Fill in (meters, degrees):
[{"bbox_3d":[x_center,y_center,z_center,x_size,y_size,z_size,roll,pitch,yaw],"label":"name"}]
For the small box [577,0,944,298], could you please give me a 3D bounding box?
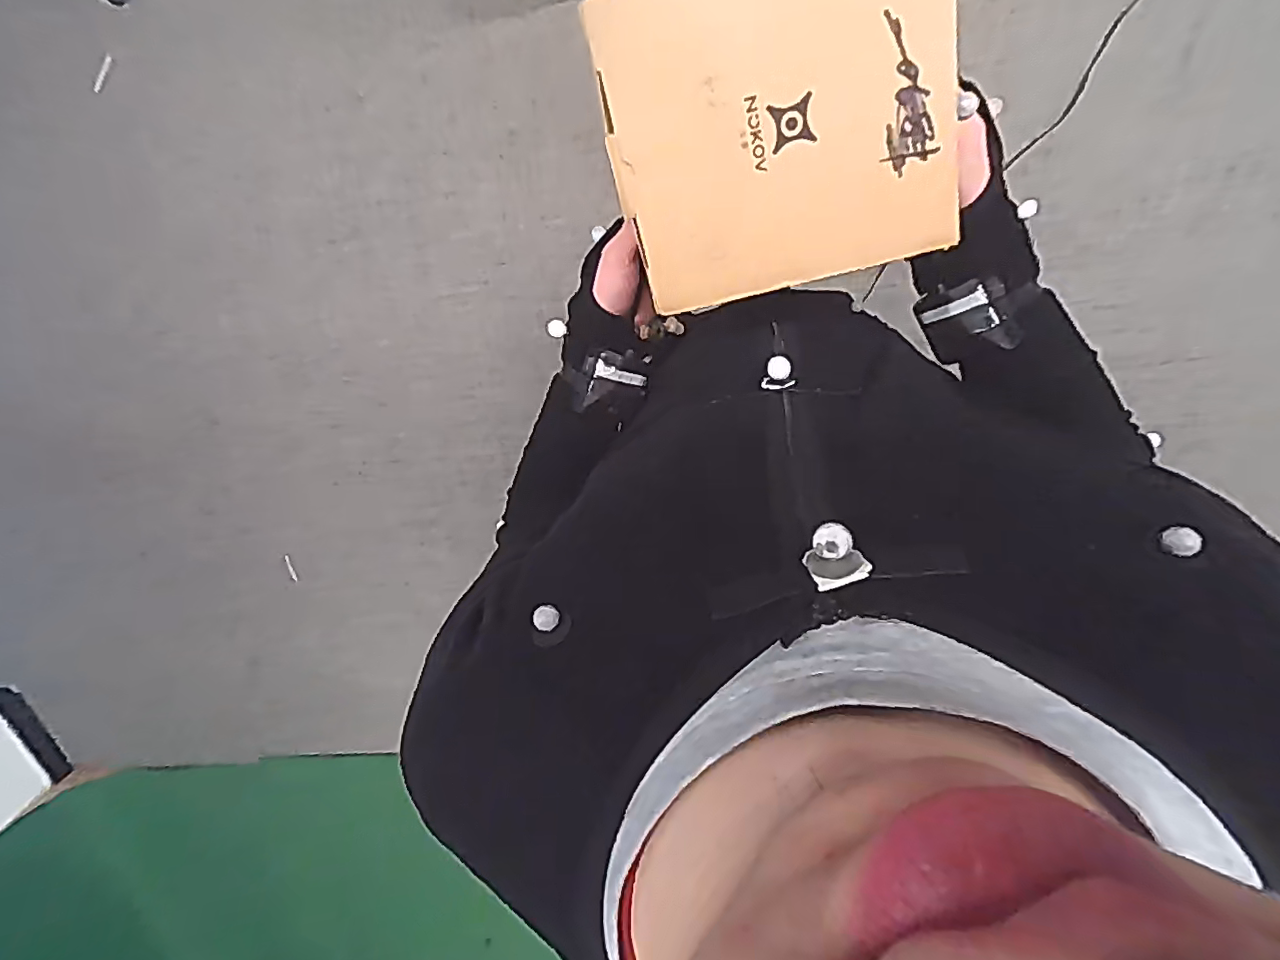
[{"bbox_3d":[0.084,-0.233,0.356,0.179,0.176,0.168,-7,118,18],"label":"small box"}]
